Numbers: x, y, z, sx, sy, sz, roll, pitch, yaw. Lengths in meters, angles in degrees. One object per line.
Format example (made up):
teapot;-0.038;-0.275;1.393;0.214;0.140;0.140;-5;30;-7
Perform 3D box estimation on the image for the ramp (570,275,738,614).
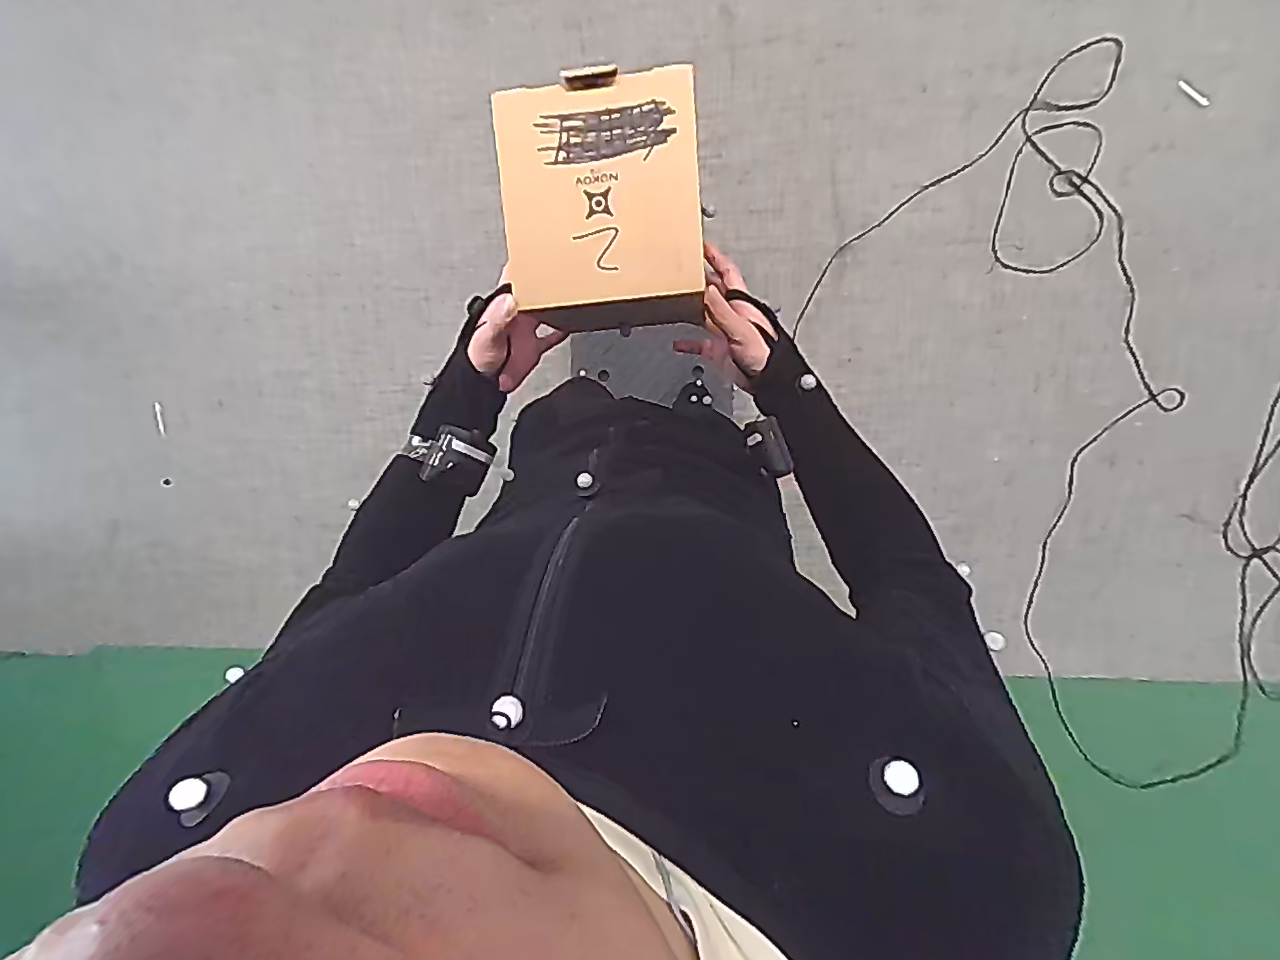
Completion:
ramp;0.036;-0.098;1.621;0.509;0.206;0.991;-3;100;8
